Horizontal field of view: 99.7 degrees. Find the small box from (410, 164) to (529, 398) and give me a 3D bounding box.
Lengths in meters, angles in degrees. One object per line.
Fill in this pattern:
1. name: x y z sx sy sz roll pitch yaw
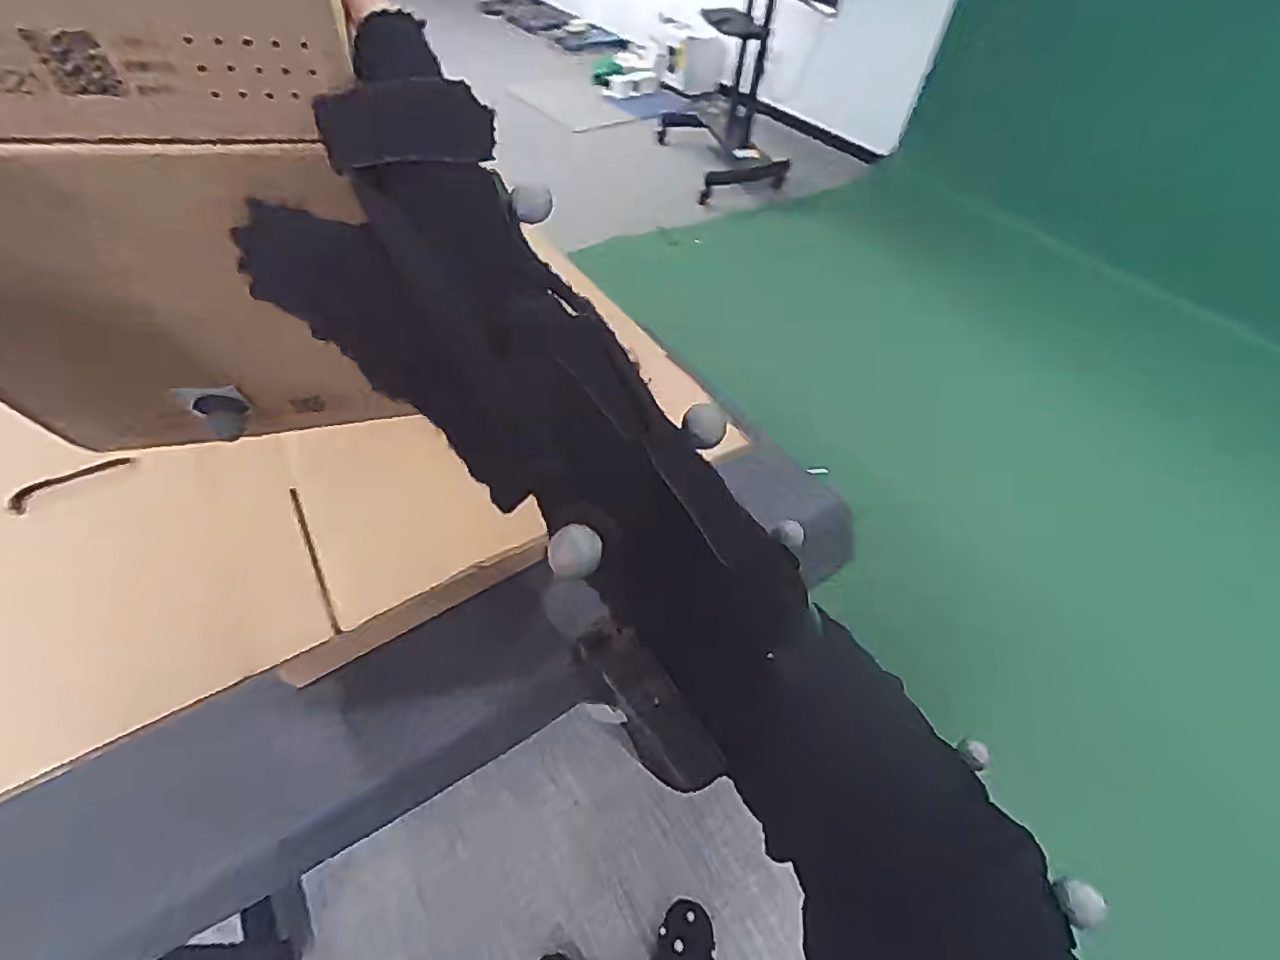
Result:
1. small box: -0.228 -0.199 0.558 0.168 0.176 0.179 -23 54 -23
